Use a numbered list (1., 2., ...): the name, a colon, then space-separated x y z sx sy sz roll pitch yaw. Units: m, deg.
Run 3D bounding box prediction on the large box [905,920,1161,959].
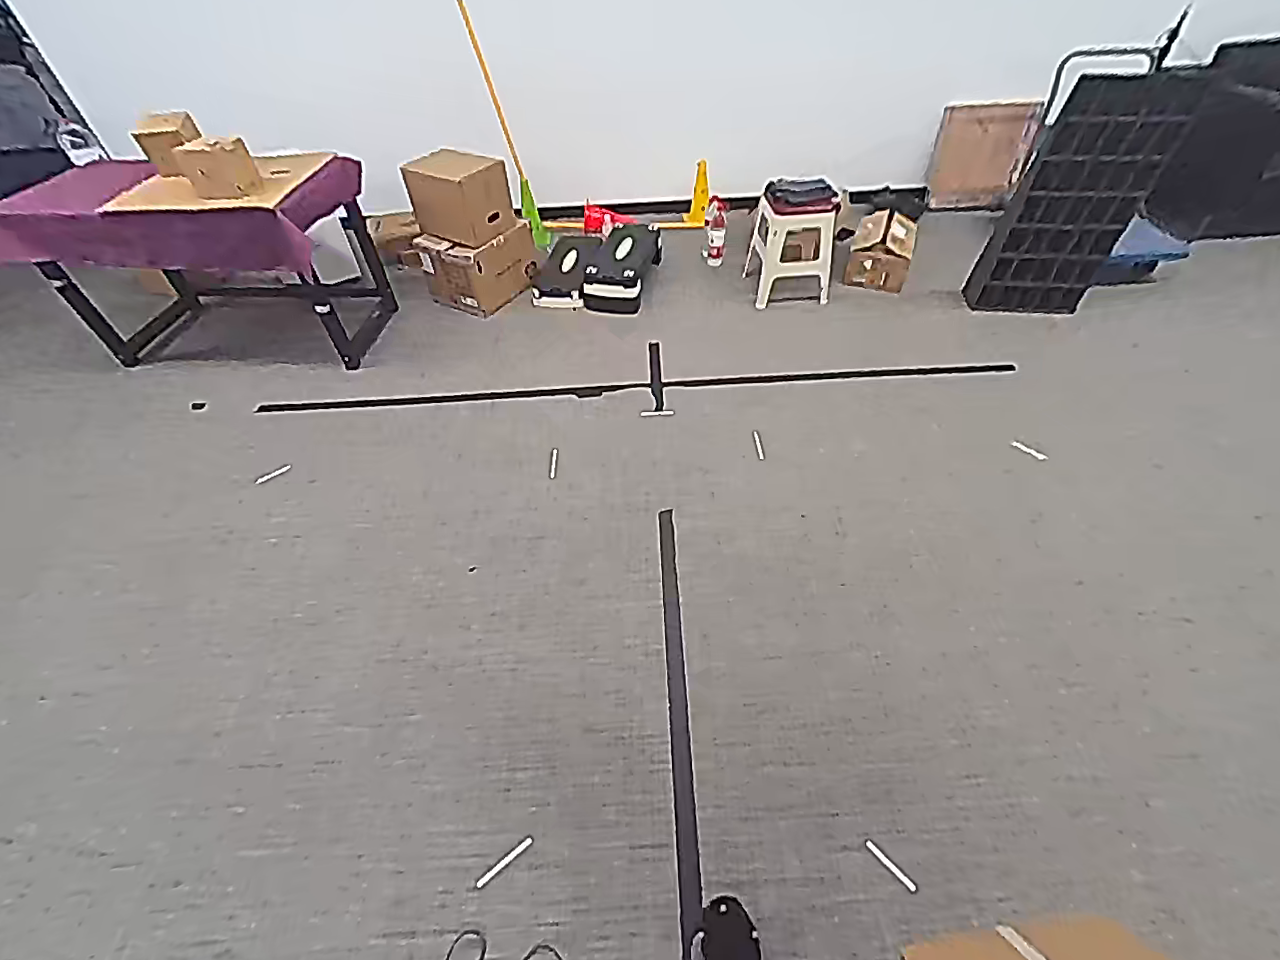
1. large box: 0.555 0.770 0.569 0.320 0.408 0.320 -9 78 -2
